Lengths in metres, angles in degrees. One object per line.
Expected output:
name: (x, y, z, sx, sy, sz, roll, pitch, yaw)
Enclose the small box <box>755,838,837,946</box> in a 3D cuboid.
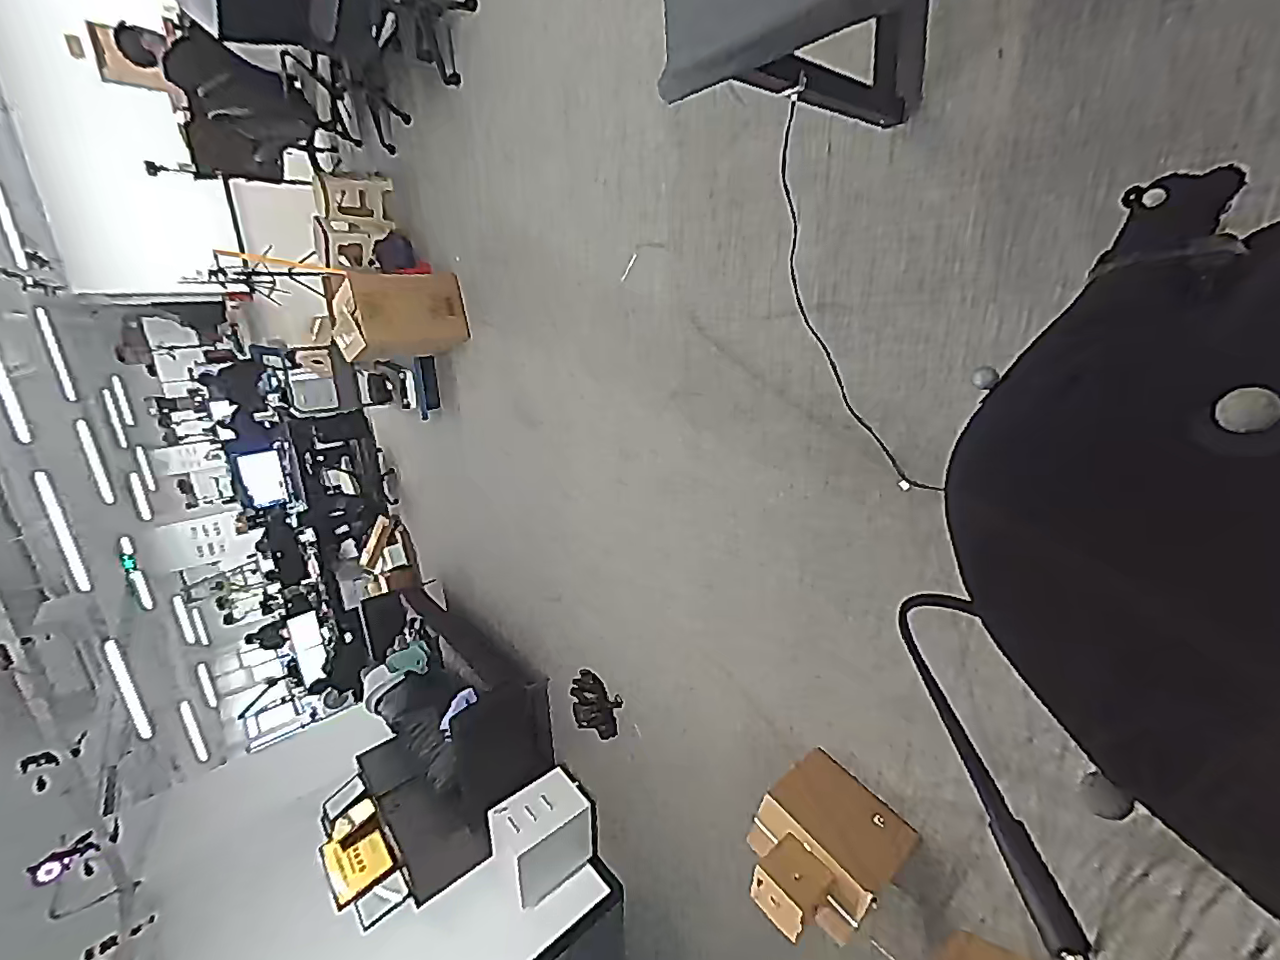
small box: (0.493, 1.288, 1.705, 0.179, 0.176, 0.168, 27, 123, 43)
